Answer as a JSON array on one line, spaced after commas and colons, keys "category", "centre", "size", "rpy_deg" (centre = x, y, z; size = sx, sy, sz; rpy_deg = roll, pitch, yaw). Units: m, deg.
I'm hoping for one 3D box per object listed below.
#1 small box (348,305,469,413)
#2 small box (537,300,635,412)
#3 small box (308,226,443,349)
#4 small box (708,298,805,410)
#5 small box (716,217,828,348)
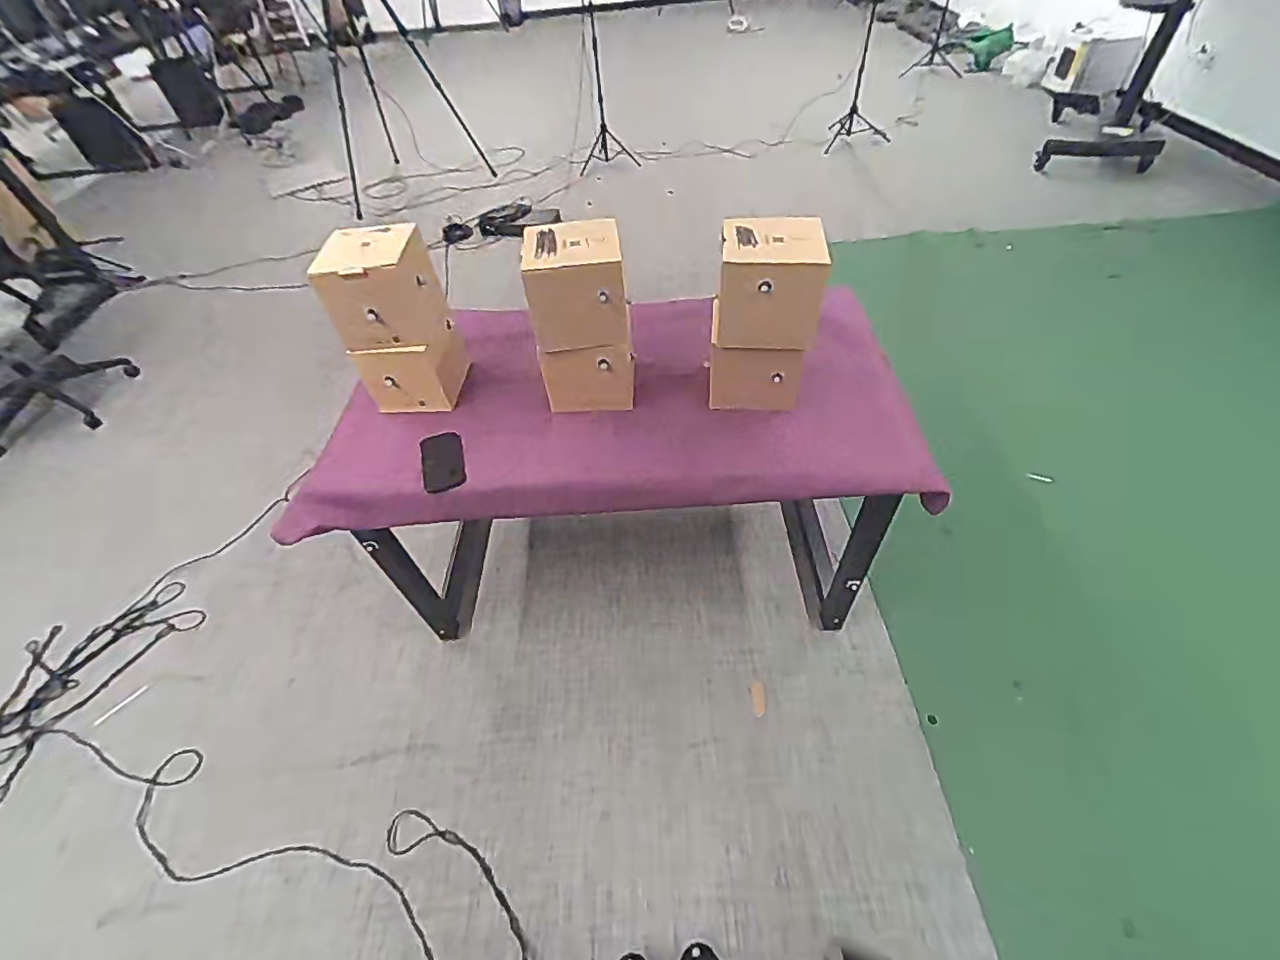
[{"category": "small box", "centre": [-0.494, -0.260, 1.186], "size": [0.168, 0.176, 0.179], "rpy_deg": [-2, 49, 4]}, {"category": "small box", "centre": [-0.104, -0.258, 1.145], "size": [0.179, 0.176, 0.168], "rpy_deg": [-2, 49, 5]}, {"category": "small box", "centre": [-0.507, -0.374, 1.068], "size": [0.168, 0.176, 0.179], "rpy_deg": [-5, 49, 0]}, {"category": "small box", "centre": [0.234, -0.258, 1.112], "size": [0.179, 0.176, 0.168], "rpy_deg": [2, 49, 9]}, {"category": "small box", "centre": [0.230, -0.355, 0.979], "size": [0.179, 0.176, 0.168], "rpy_deg": [3, 49, 7]}]
